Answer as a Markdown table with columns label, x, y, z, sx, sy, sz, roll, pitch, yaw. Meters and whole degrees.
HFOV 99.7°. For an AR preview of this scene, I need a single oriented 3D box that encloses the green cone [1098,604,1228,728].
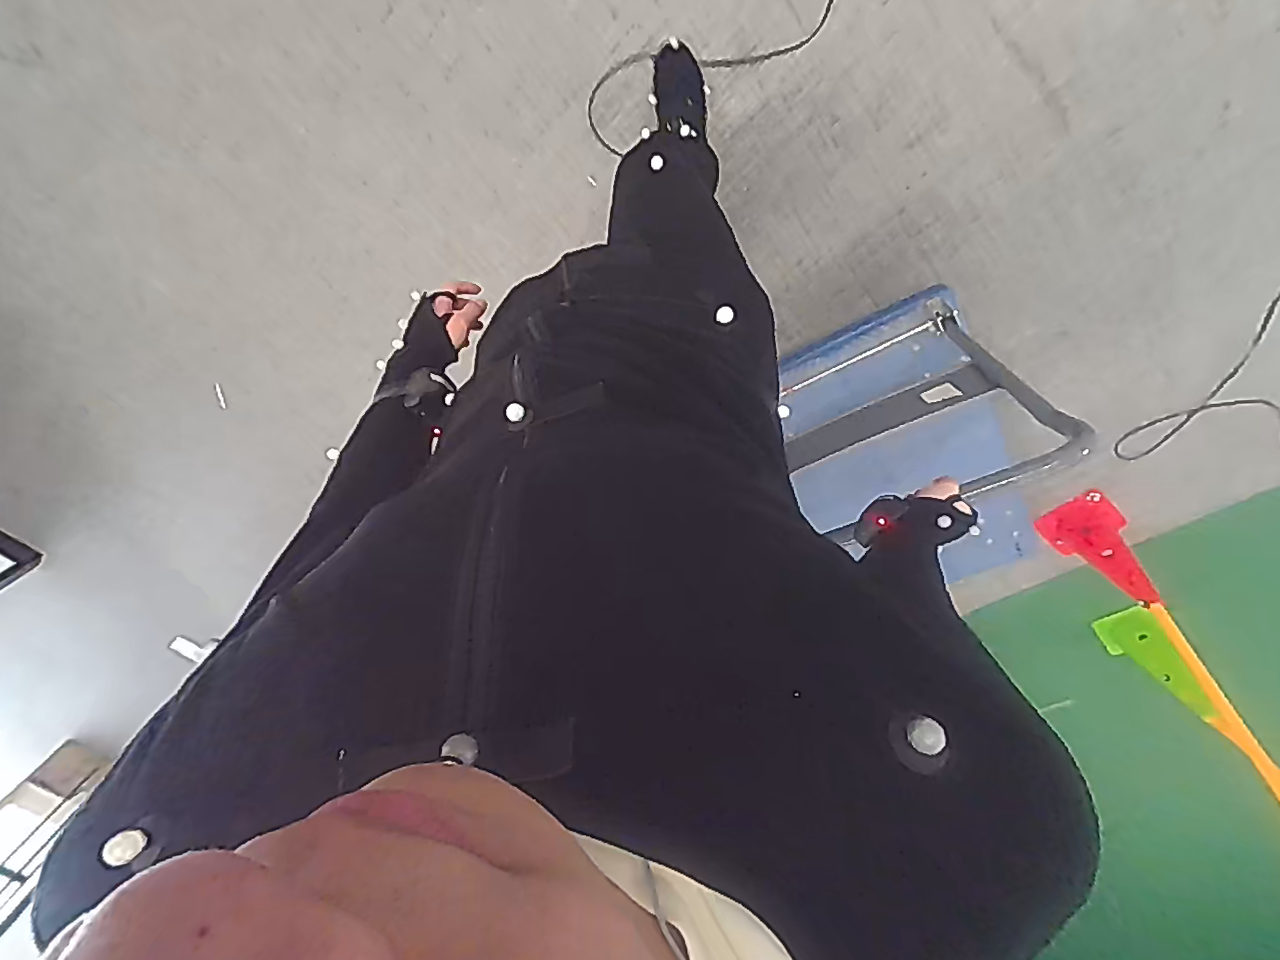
| label | x | y | z | sx | sy | sz | roll | pitch | yaw |
| --- | --- | --- | --- | --- | --- | --- | --- | --- | --- |
| green cone | 1.693 | 0.609 | 1.715 | 0.200 | 0.368 | 0.202 | -36 | 112 | 25 |
